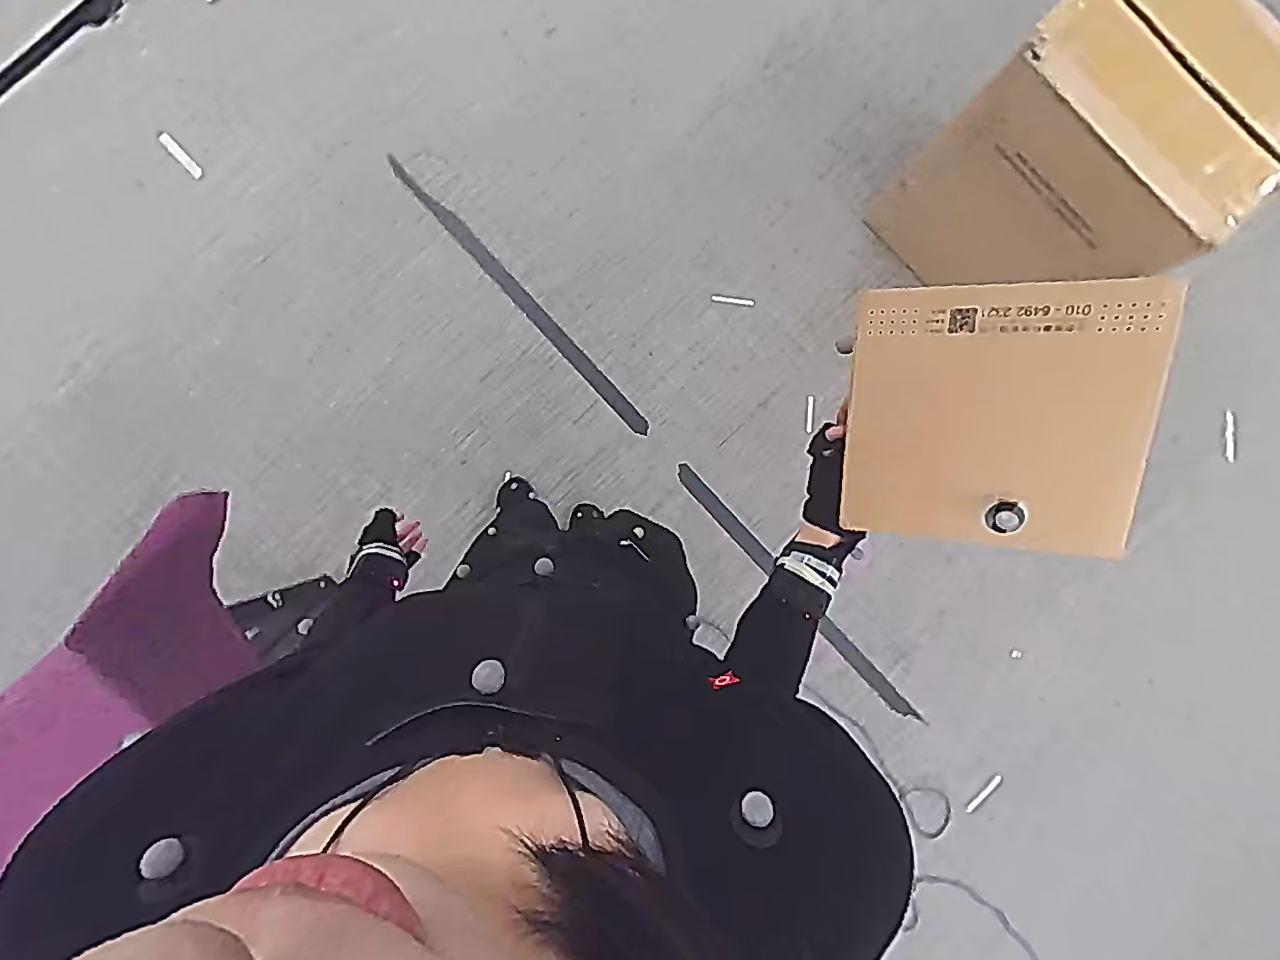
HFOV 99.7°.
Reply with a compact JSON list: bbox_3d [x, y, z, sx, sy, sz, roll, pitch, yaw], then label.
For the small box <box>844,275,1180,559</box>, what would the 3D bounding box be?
[{"bbox_3d":[0.254,-0.062,0.410,0.168,0.179,0.176,6,108,23],"label":"small box"}]
